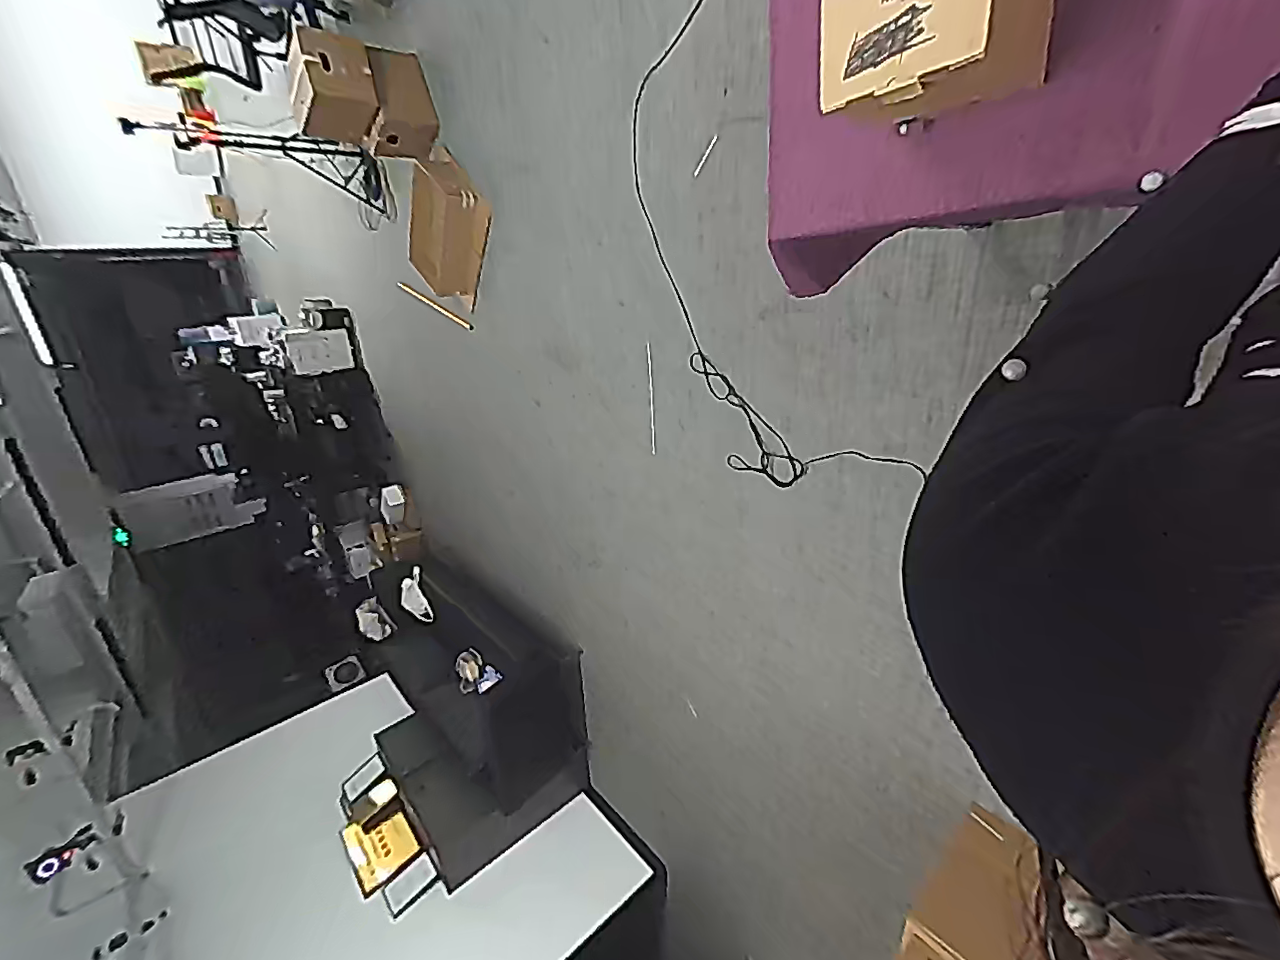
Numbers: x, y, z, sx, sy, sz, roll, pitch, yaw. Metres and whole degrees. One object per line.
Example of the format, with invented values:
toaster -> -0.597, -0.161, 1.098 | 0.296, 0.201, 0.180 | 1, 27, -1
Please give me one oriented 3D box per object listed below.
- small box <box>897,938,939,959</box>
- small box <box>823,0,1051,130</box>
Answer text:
small box -> 0.698, 1.300, 1.334 | 0.168, 0.176, 0.179 | 25, 125, 43
small box -> 0.312, -0.489, 0.566 | 0.168, 0.176, 0.179 | 16, 116, 47
